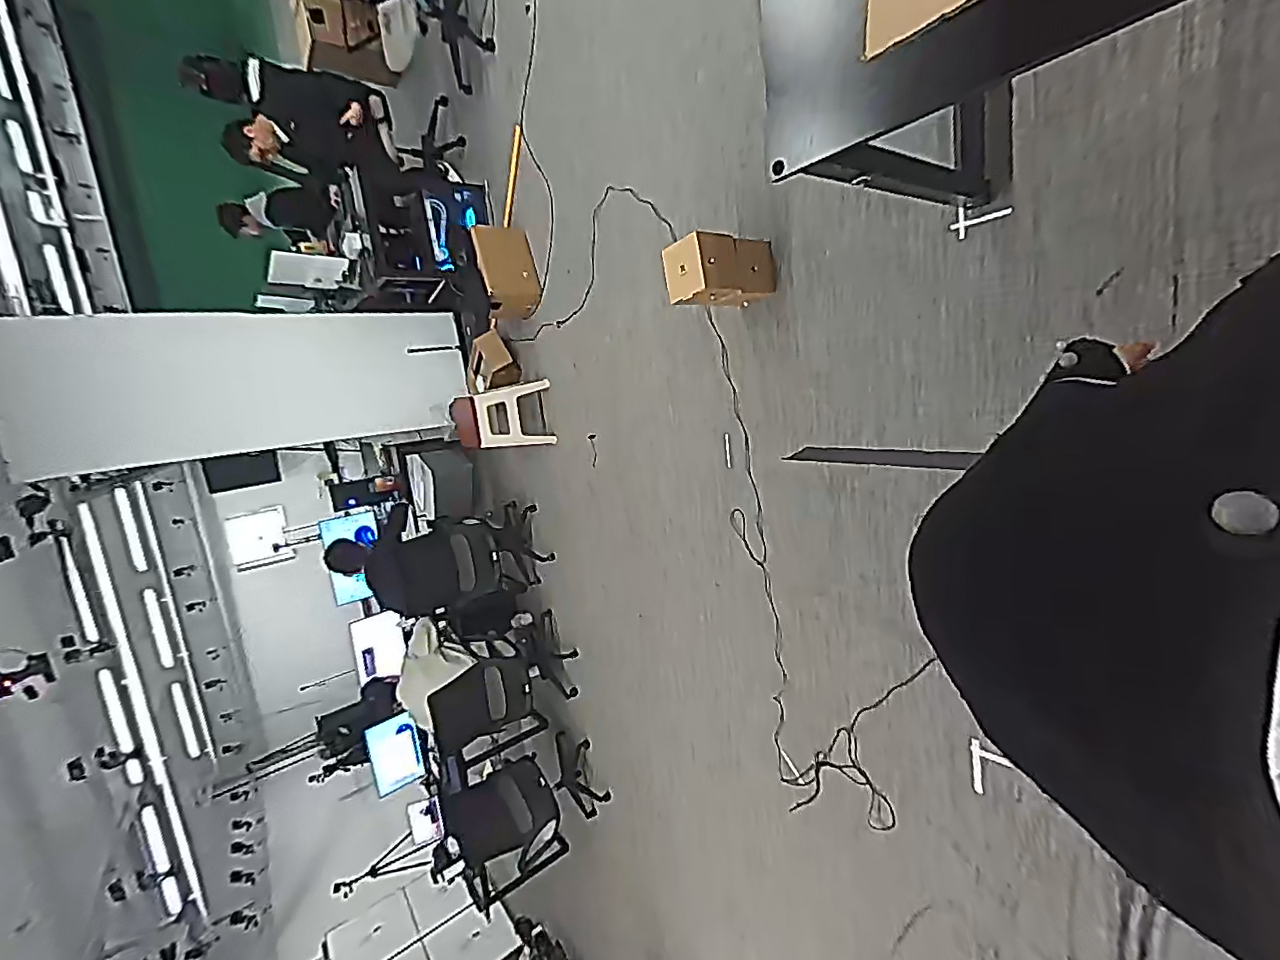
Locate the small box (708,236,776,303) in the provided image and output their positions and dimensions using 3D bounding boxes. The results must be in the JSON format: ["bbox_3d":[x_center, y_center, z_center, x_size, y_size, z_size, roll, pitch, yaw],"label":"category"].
[{"bbox_3d":[0.335,-0.701,1.821,0.168,0.176,0.179,1,102,54],"label":"small box"}]

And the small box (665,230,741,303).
[{"bbox_3d":[0.205,-0.676,1.726,0.168,0.176,0.179,-4,97,54],"label":"small box"}]
